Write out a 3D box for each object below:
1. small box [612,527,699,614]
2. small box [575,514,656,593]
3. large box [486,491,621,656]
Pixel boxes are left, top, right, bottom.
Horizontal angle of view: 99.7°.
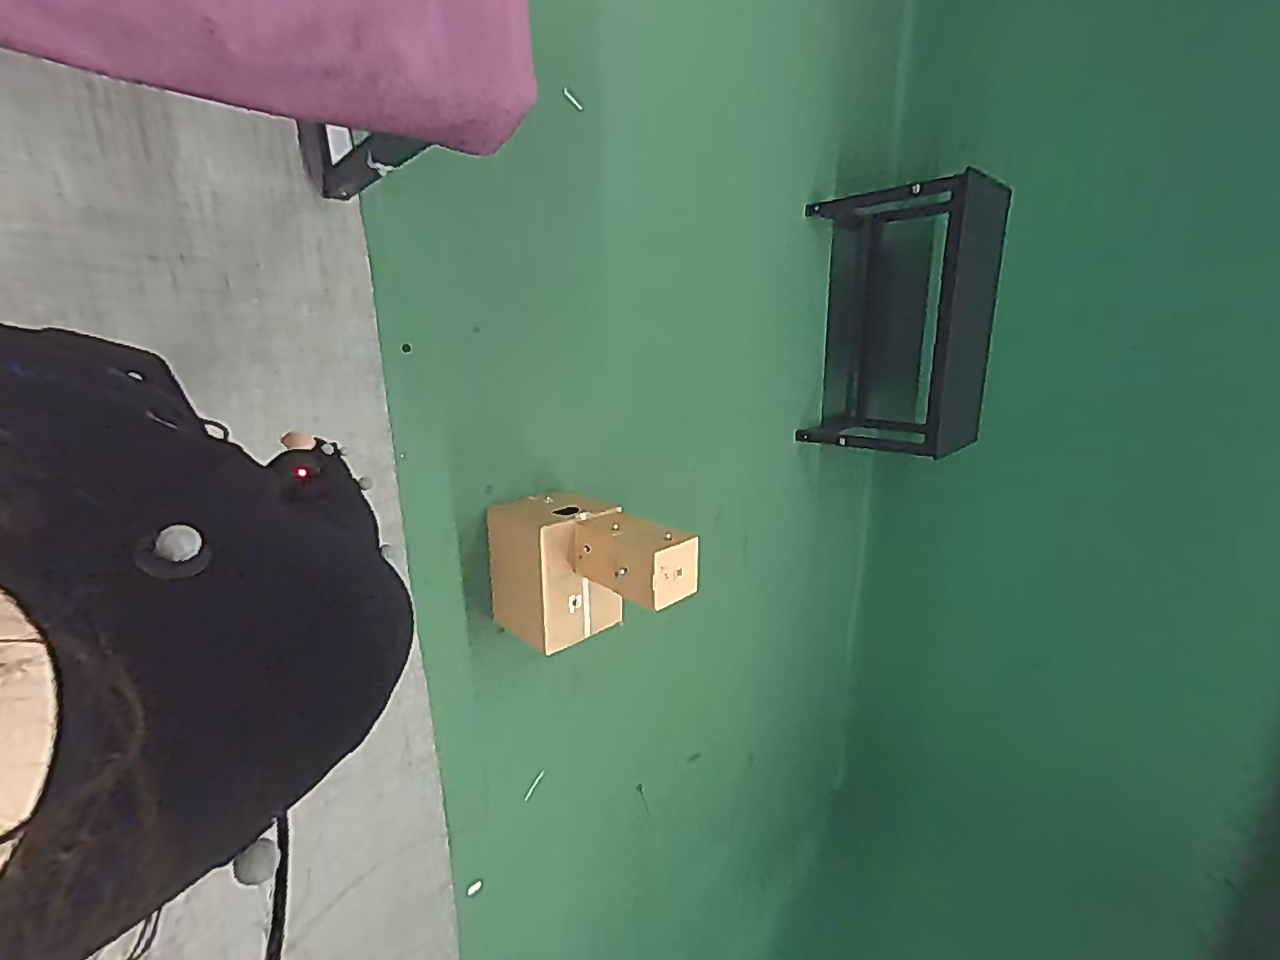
[{"bbox_3d":[0.041,0.238,1.483,0.179,0.176,0.168,-14,109,-43],"label":"small box"},{"bbox_3d":[-0.073,0.208,1.598,0.179,0.176,0.168,-13,109,-43],"label":"small box"},{"bbox_3d":[-0.278,0.280,1.757,0.320,0.320,0.408,-13,109,-42],"label":"large box"}]
